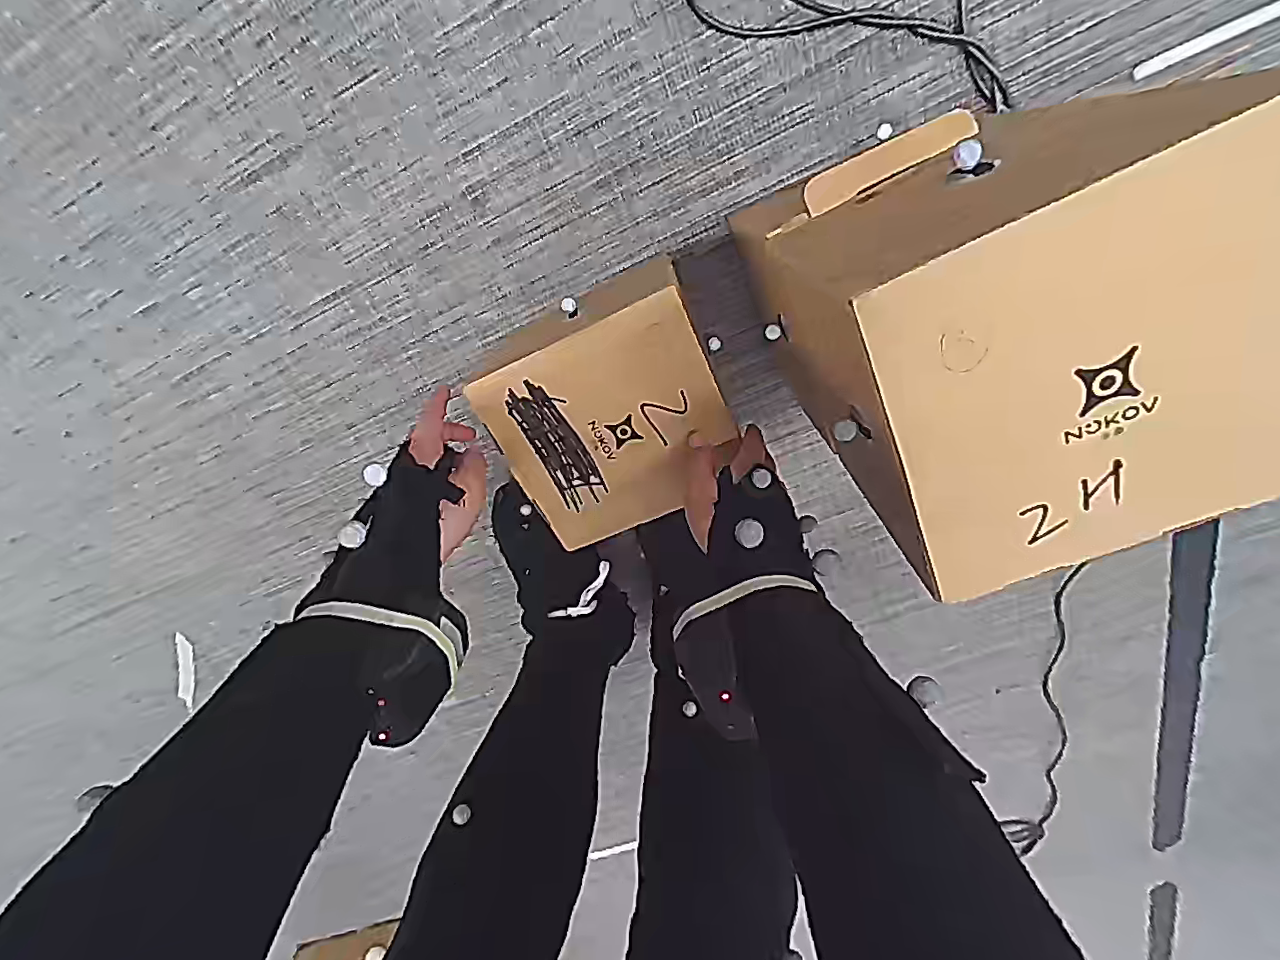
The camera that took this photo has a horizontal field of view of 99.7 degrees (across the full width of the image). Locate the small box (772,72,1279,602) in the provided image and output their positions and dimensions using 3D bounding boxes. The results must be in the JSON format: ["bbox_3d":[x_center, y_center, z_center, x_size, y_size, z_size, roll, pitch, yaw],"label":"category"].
[{"bbox_3d":[0.187,-0.073,0.294,0.168,0.176,0.179,-23,117,13],"label":"small box"}]

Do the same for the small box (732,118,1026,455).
[{"bbox_3d":[0.185,-0.154,0.438,0.168,0.176,0.179,-22,118,12],"label":"small box"}]
